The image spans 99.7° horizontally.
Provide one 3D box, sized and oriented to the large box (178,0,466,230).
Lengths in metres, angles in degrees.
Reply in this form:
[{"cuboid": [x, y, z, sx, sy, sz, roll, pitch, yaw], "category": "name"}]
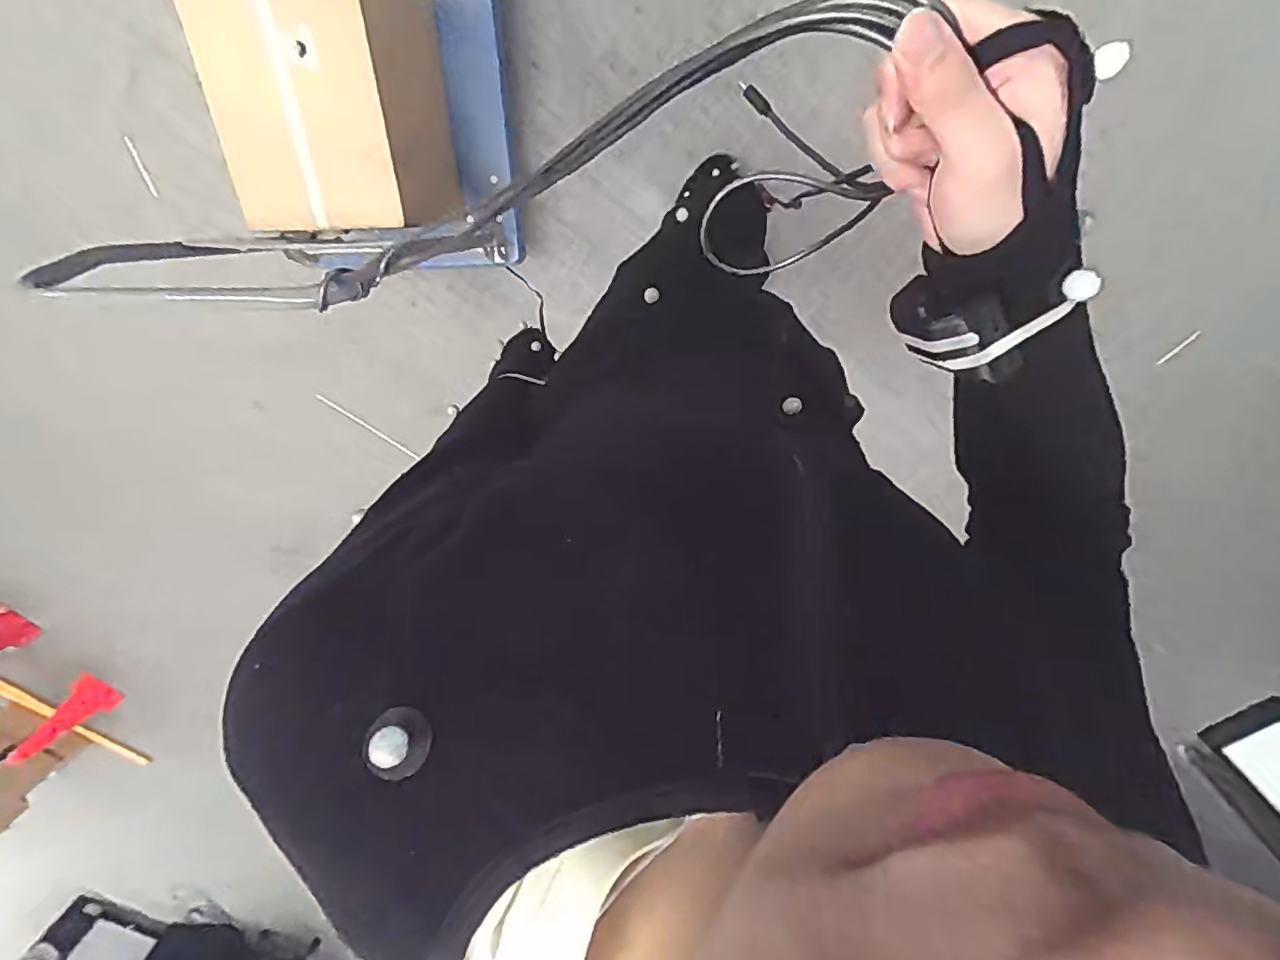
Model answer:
[{"cuboid": [-0.570, -0.714, 1.044, 0.320, 0.320, 0.408, 1, 117, 5], "category": "large box"}]
